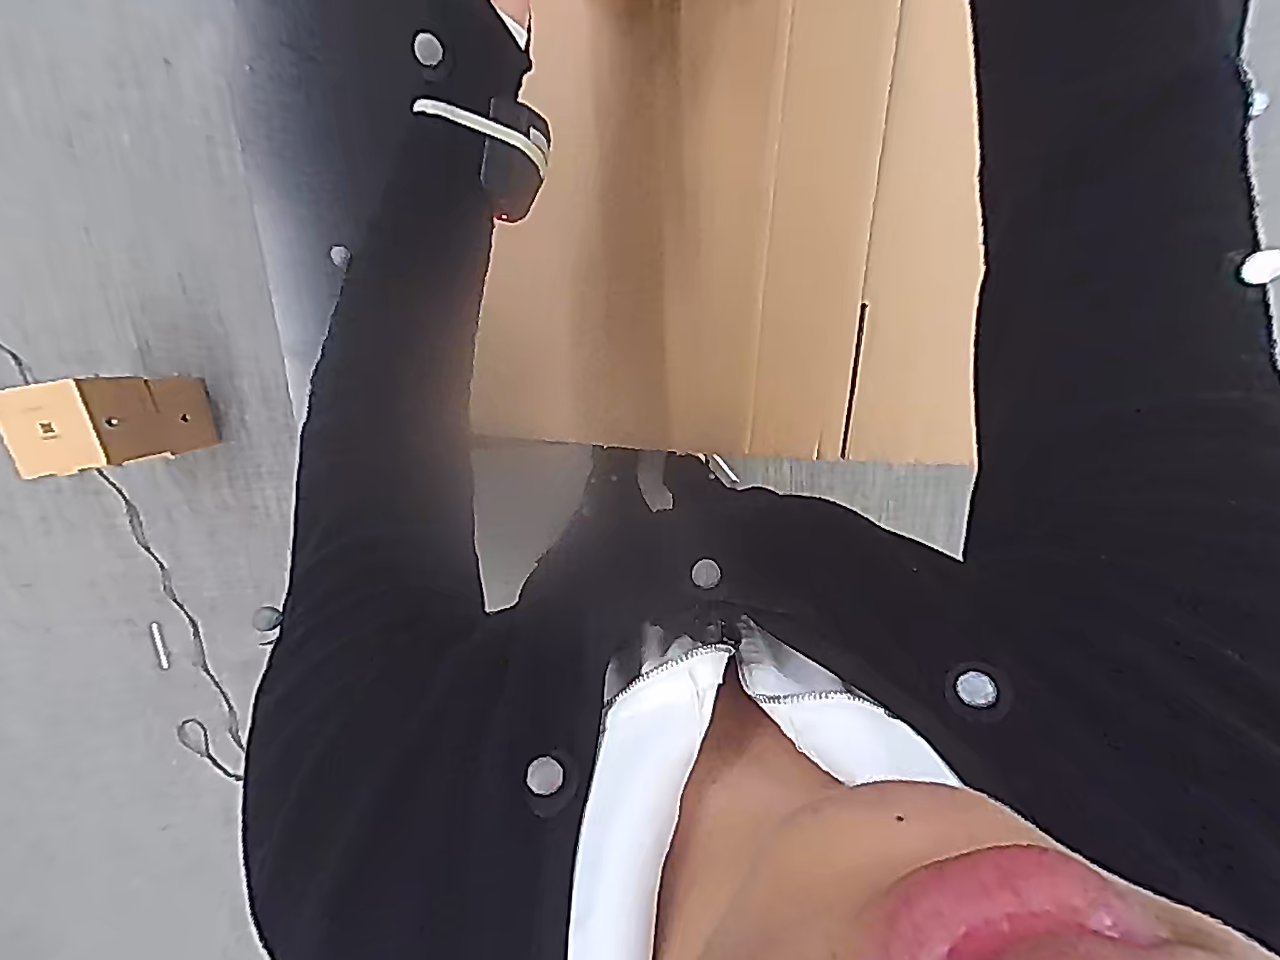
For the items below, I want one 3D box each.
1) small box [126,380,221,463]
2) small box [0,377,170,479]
[{"bbox_3d":[-1.149,-0.144,1.281,0.168,0.176,0.179,-7,104,-3],"label":"small box"},{"bbox_3d":[-1.139,-0.114,1.121,0.168,0.176,0.179,-11,102,-3],"label":"small box"}]
